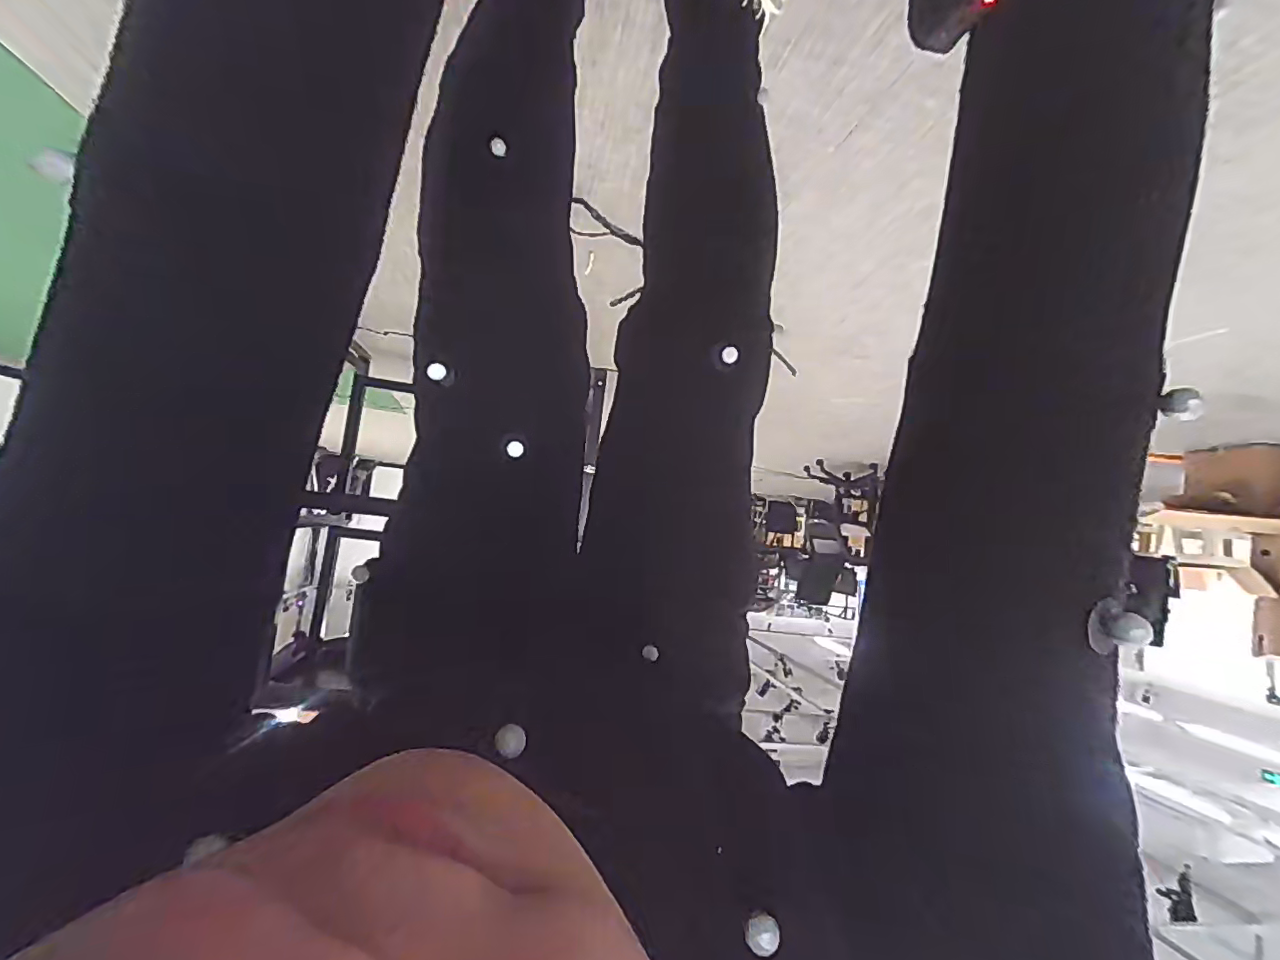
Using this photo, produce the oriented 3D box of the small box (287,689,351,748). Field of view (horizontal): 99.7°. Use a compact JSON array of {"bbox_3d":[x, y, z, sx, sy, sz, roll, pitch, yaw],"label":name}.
[{"bbox_3d":[-1.266,0.942,2.145,0.179,0.176,0.168,7,176,-12],"label":"small box"}]
